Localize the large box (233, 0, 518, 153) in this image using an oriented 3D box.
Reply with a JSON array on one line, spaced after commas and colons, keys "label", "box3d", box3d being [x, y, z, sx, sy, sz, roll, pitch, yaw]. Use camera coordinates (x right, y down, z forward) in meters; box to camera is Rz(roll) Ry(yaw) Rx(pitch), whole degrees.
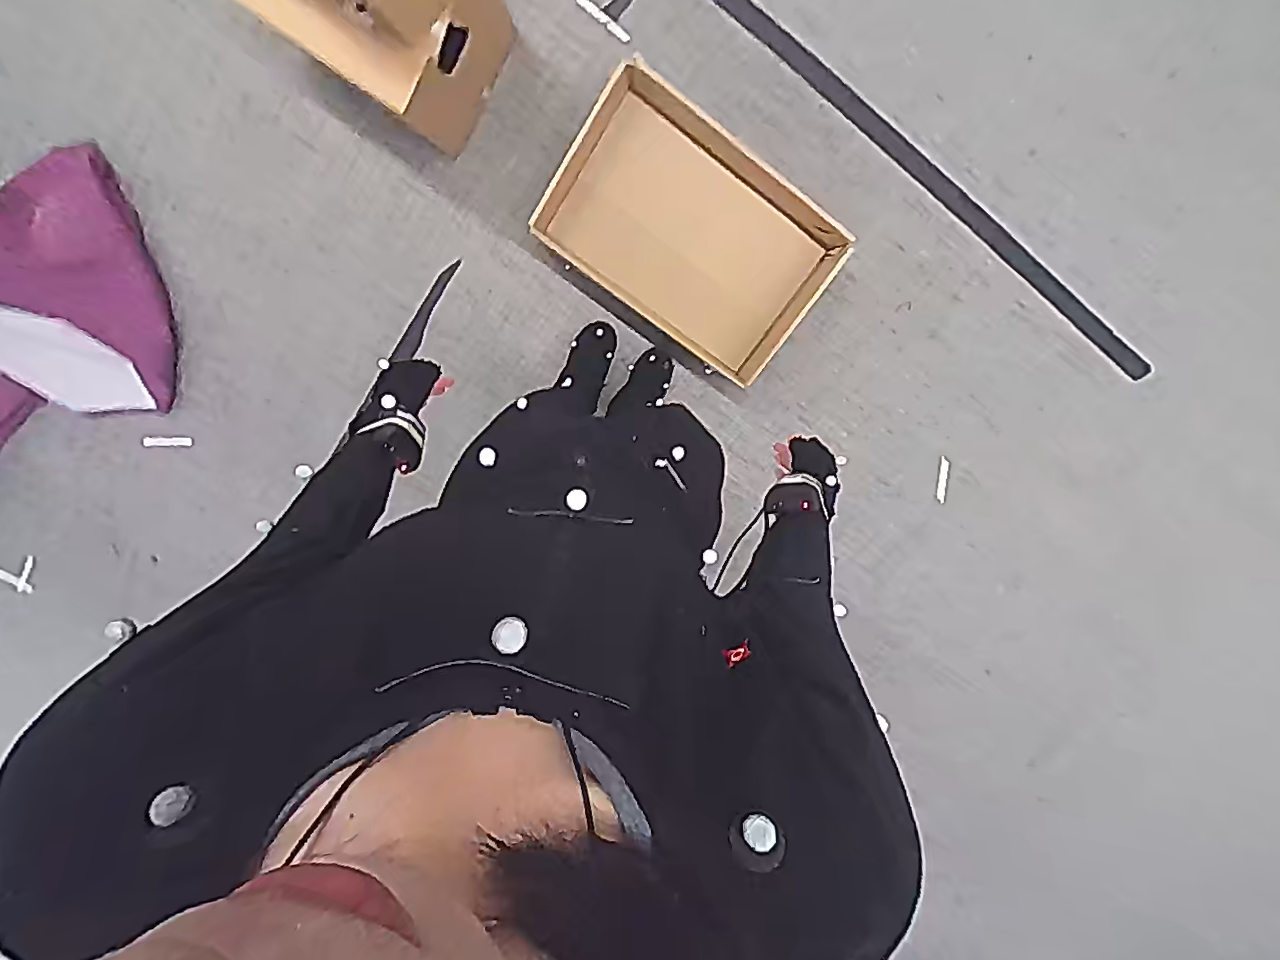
[{"label": "large box", "box3d": [-0.519, -0.957, 1.089, 0.408, 0.320, 0.320, 31, 106, -9]}]
